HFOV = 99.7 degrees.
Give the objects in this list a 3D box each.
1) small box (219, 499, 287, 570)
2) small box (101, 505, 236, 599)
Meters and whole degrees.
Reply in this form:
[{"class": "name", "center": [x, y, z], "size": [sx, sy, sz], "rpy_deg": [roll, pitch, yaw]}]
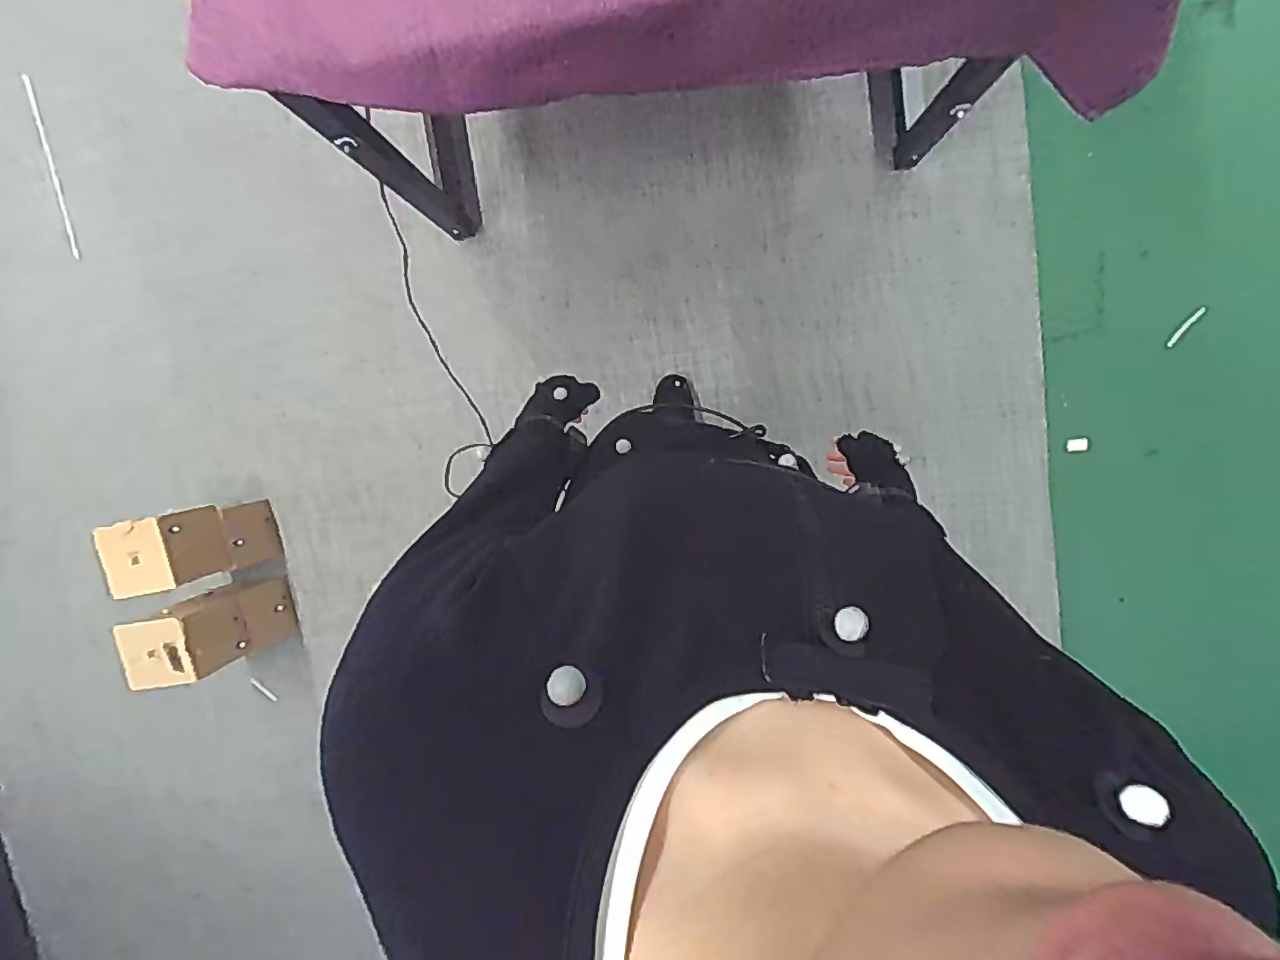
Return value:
[{"class": "small box", "center": [-1.129, 0.155, 1.492], "size": [0.179, 0.176, 0.168], "rpy_deg": [-10, 97, 6]}, {"class": "small box", "center": [-1.145, 0.172, 1.330], "size": [0.168, 0.176, 0.179], "rpy_deg": [-11, 96, 5]}]
